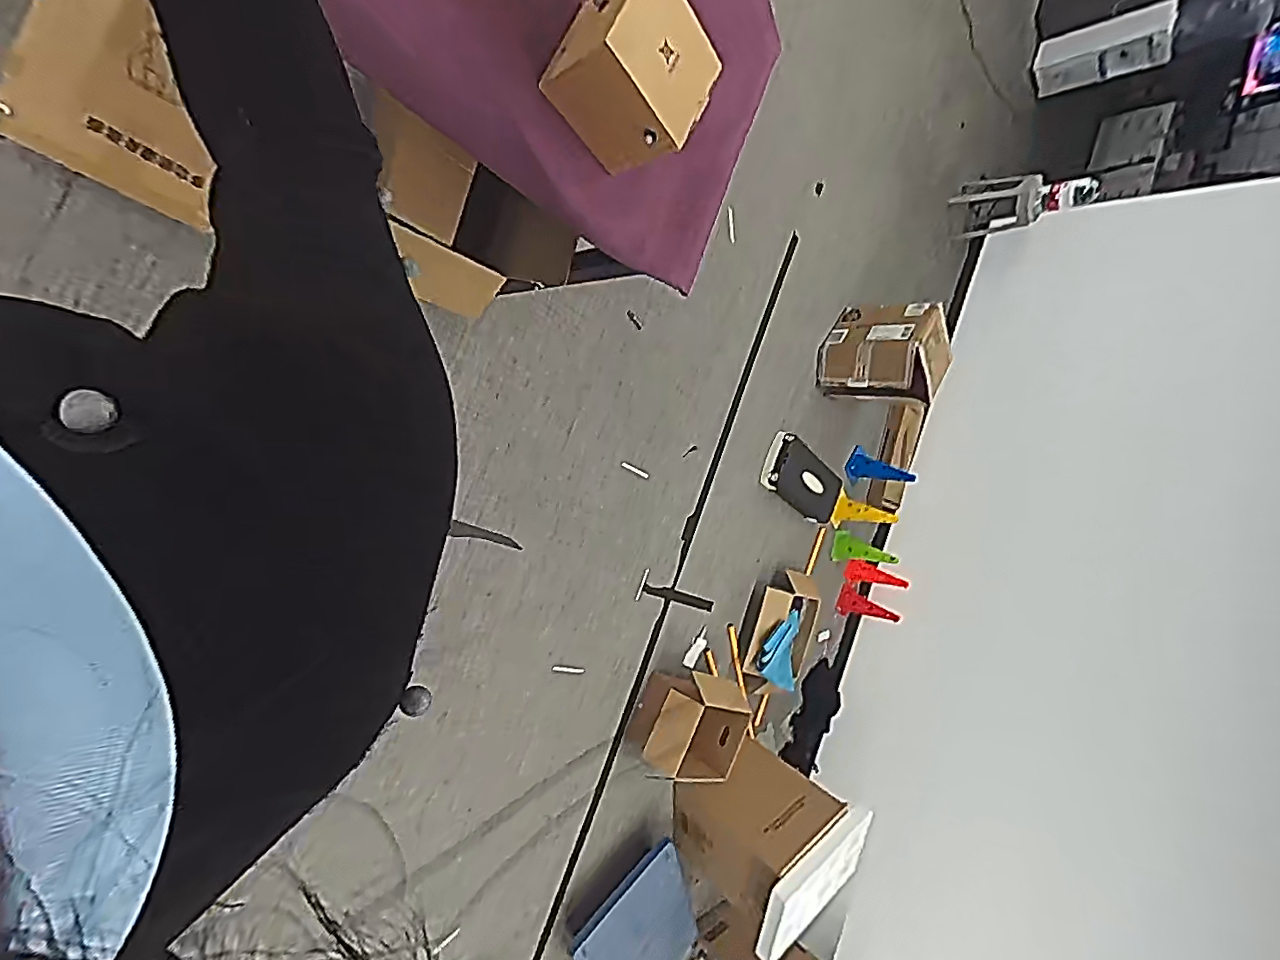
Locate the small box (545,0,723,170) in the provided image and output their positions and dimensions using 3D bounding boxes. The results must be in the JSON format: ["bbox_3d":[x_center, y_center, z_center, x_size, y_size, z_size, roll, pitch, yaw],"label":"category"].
[{"bbox_3d":[-0.011,-0.608,0.817,0.179,0.176,0.168,34,77,-44],"label":"small box"}]
